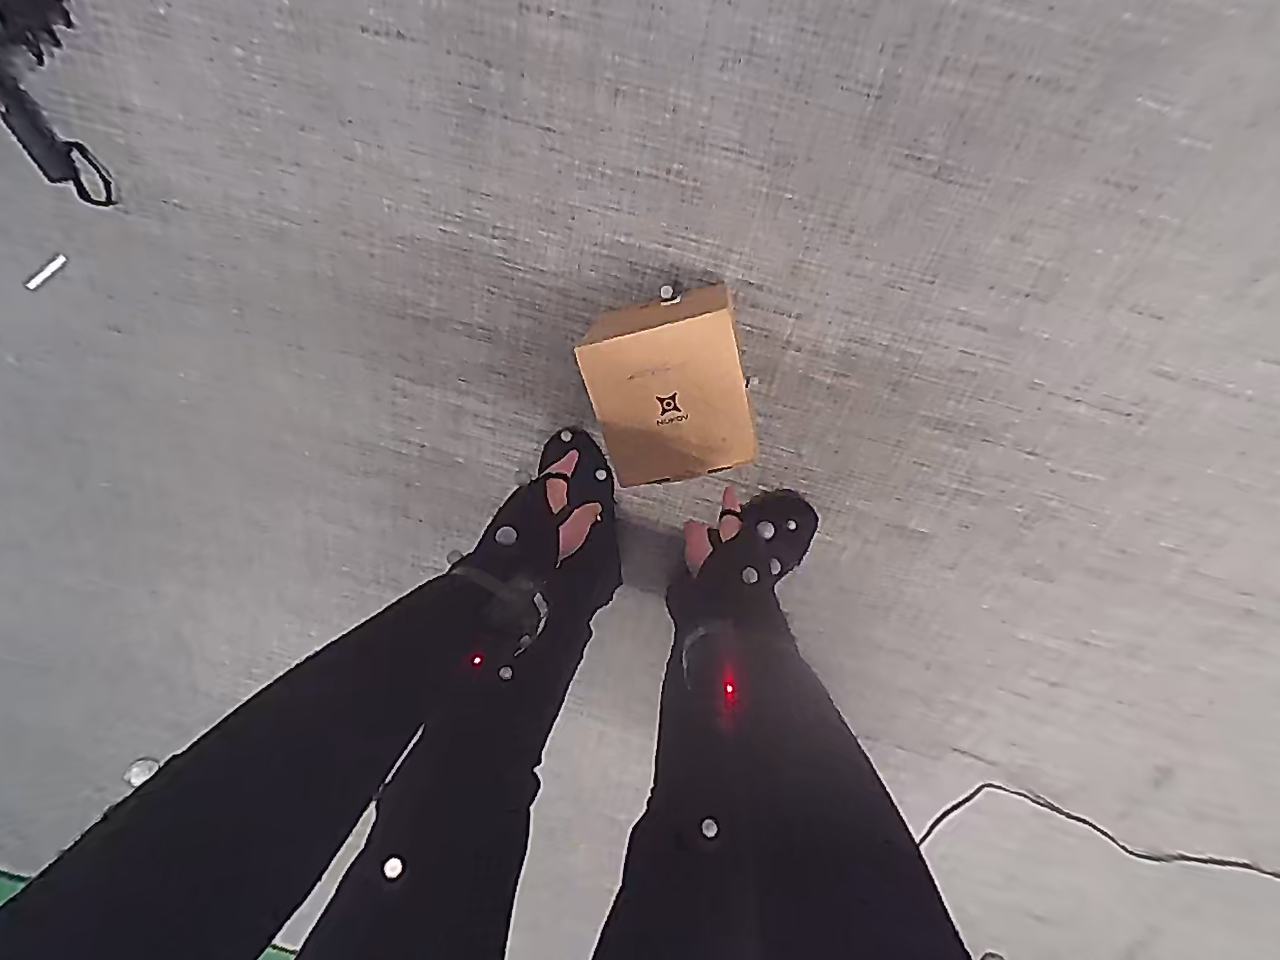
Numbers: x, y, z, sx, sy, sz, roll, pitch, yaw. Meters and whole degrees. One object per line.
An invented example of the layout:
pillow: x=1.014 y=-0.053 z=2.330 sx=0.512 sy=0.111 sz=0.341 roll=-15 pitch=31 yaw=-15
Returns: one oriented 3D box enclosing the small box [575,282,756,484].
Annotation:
small box: x=0.041 y=-0.122 z=0.658 sx=0.168 sy=0.176 sz=0.179 roll=-12 pitch=115 yaw=13
